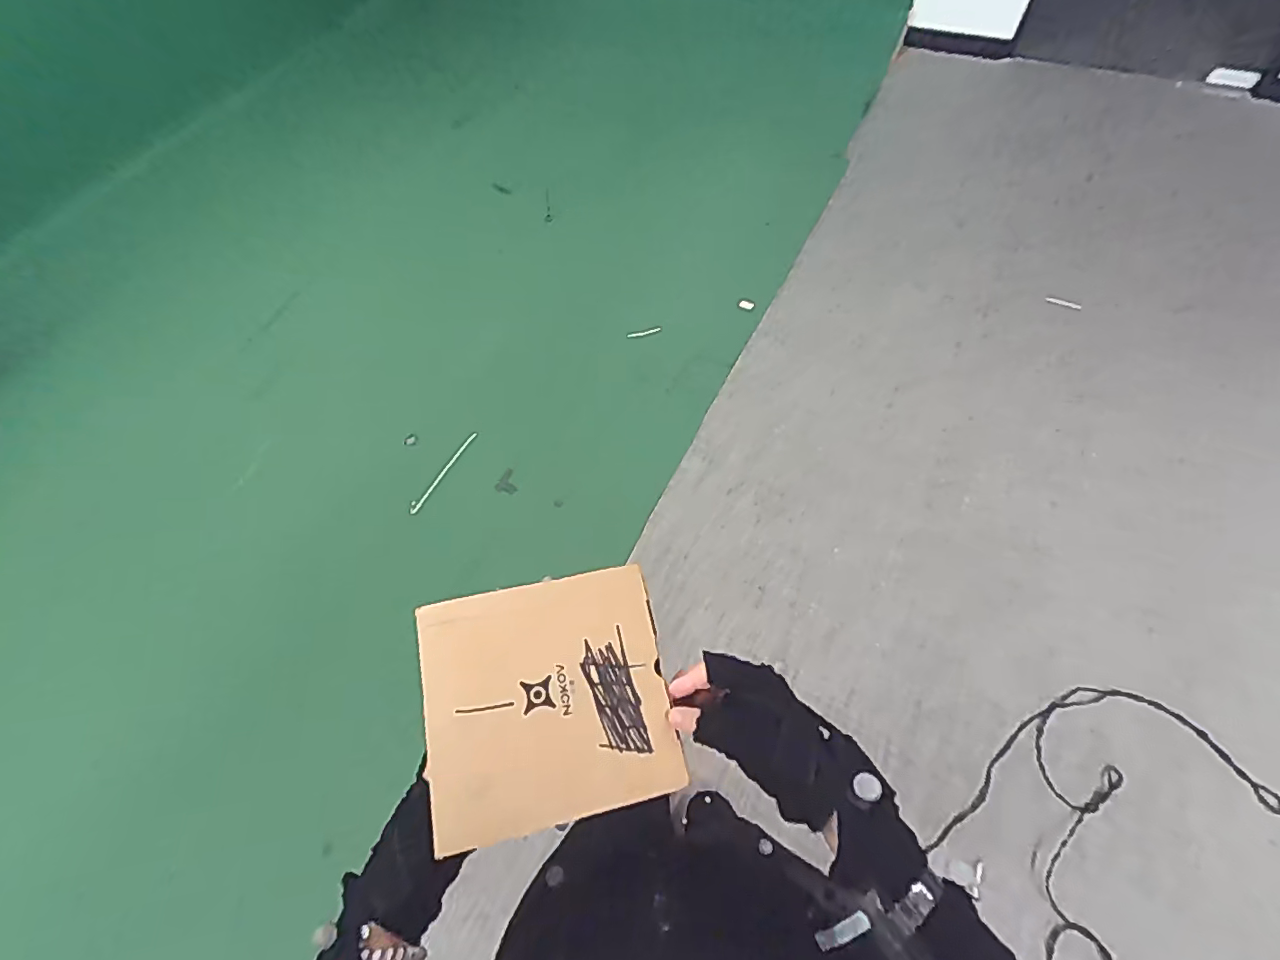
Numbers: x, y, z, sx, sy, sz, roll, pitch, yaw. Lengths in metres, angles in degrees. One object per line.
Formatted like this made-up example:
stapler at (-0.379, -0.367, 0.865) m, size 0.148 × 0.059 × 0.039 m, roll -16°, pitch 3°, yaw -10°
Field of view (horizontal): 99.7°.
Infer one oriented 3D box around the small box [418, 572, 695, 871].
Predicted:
small box at (-0.072, 0.187, 0.454) m, size 0.179 × 0.176 × 0.168 m, roll -9°, pitch 69°, yaw -11°
